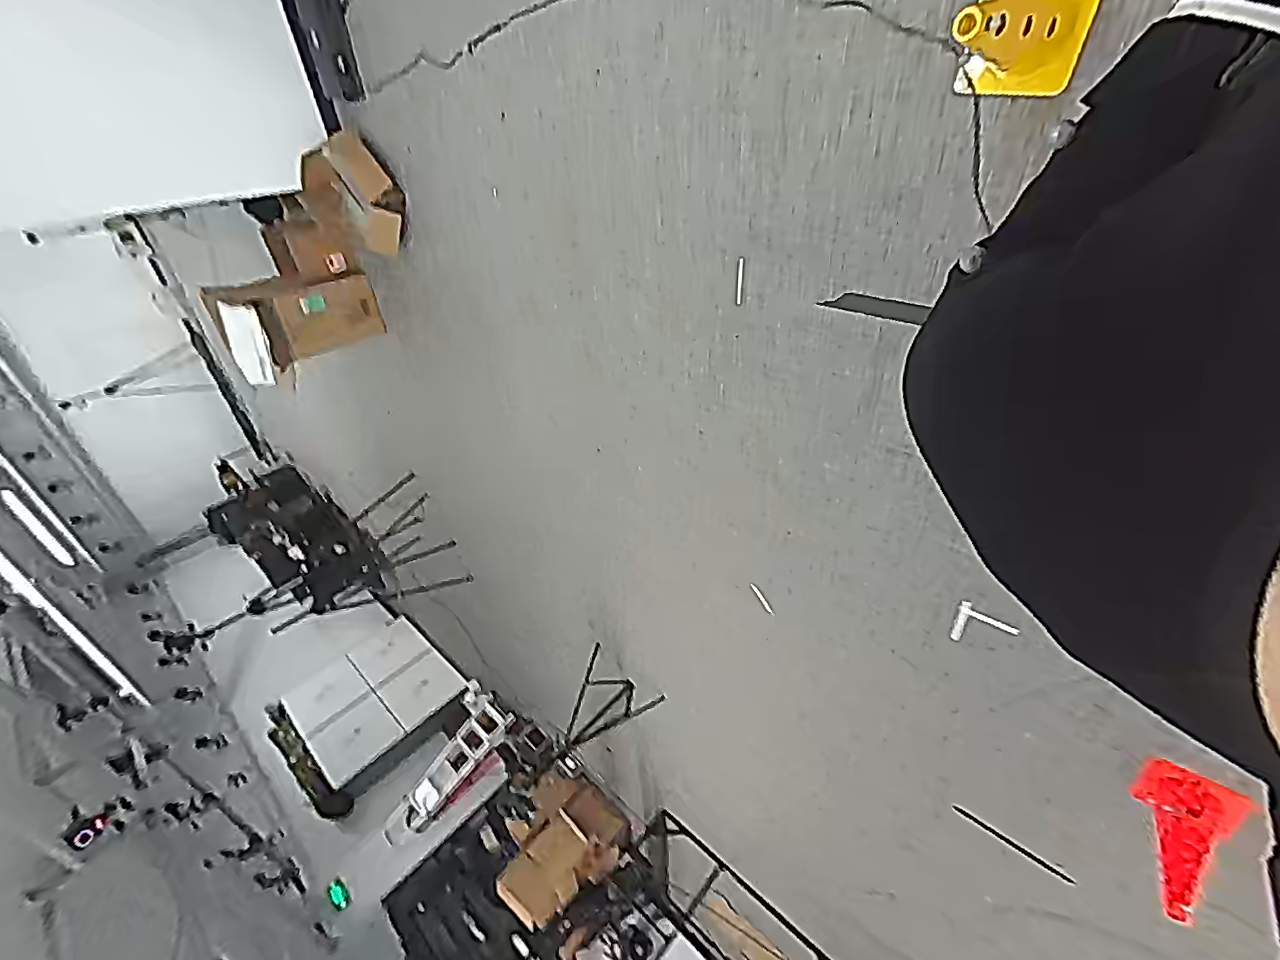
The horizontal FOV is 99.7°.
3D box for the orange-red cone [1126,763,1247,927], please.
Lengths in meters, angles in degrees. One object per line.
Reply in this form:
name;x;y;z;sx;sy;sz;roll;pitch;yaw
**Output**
orange-red cone;1.375;0.960;1.381;0.199;0.360;0.198;21;133;36
